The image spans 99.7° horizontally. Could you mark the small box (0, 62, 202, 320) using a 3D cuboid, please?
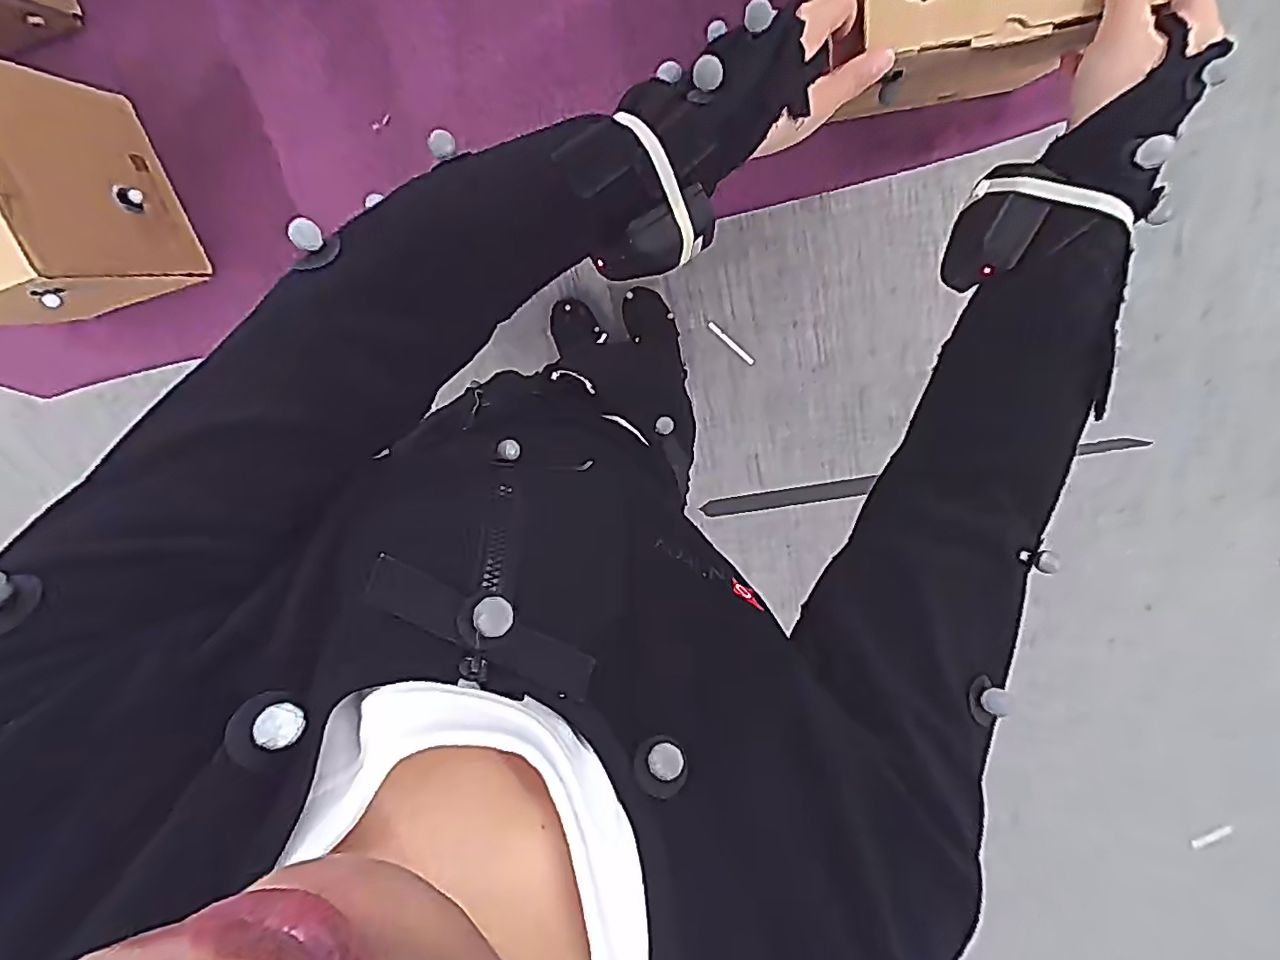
[{"bbox_3d":[-0.560,-0.243,0.481,0.179,0.176,0.168,-13,109,9],"label":"small box"}]
